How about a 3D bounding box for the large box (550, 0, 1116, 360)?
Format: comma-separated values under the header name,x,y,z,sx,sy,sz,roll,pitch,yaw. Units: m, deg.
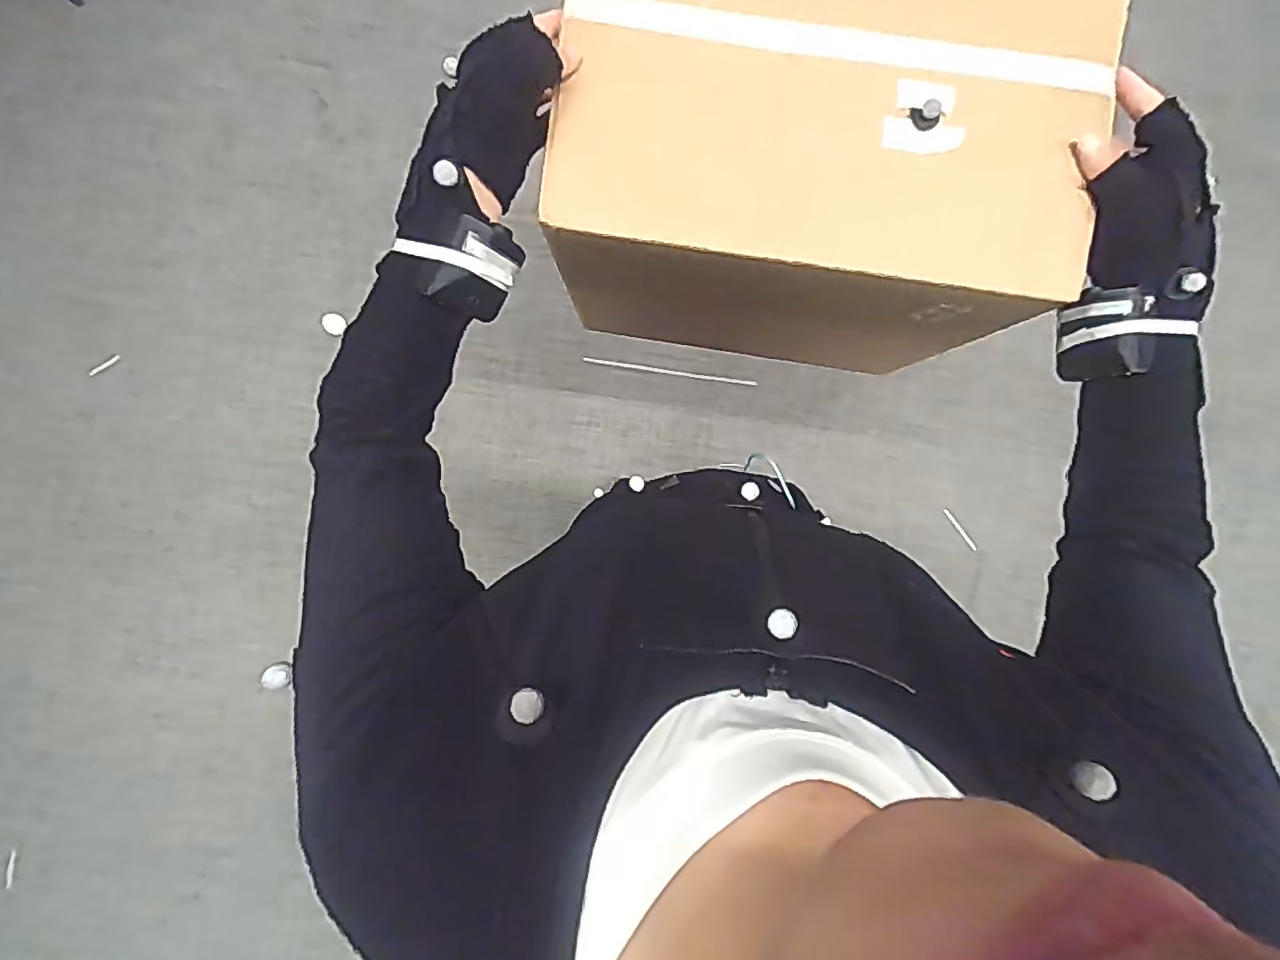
name,x,y,z,sx,sy,sz,roll,pitch,yaw
large box,0.145,-0.326,0.553,0.408,0.320,0.320,8,92,0
